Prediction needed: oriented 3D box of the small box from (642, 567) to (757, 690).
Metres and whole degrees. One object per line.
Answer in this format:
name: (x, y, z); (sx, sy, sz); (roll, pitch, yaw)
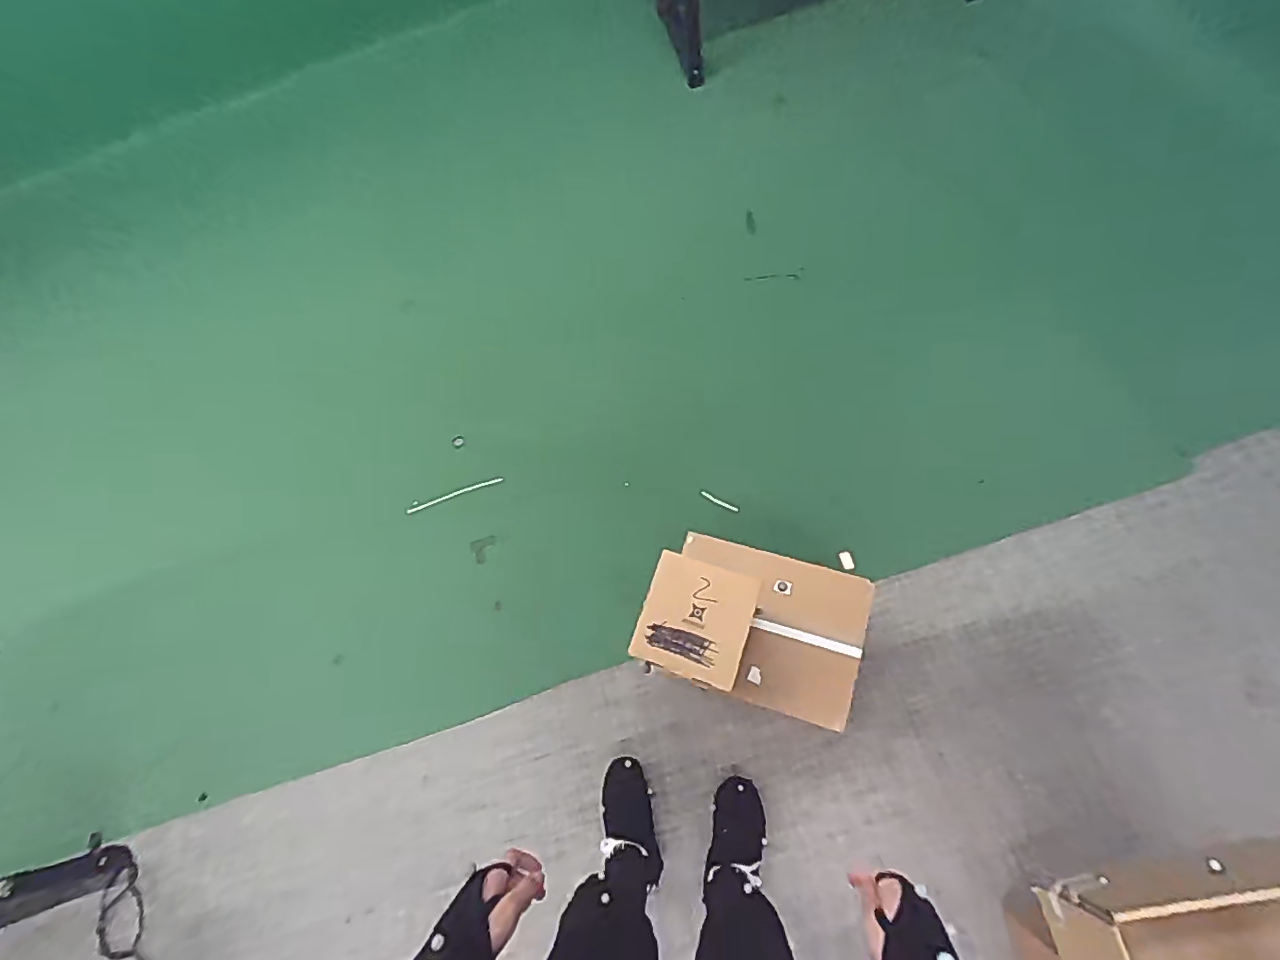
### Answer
small box: (0.120, 0.293, 1.054); (0.168, 0.176, 0.179); (18, 73, 14)
